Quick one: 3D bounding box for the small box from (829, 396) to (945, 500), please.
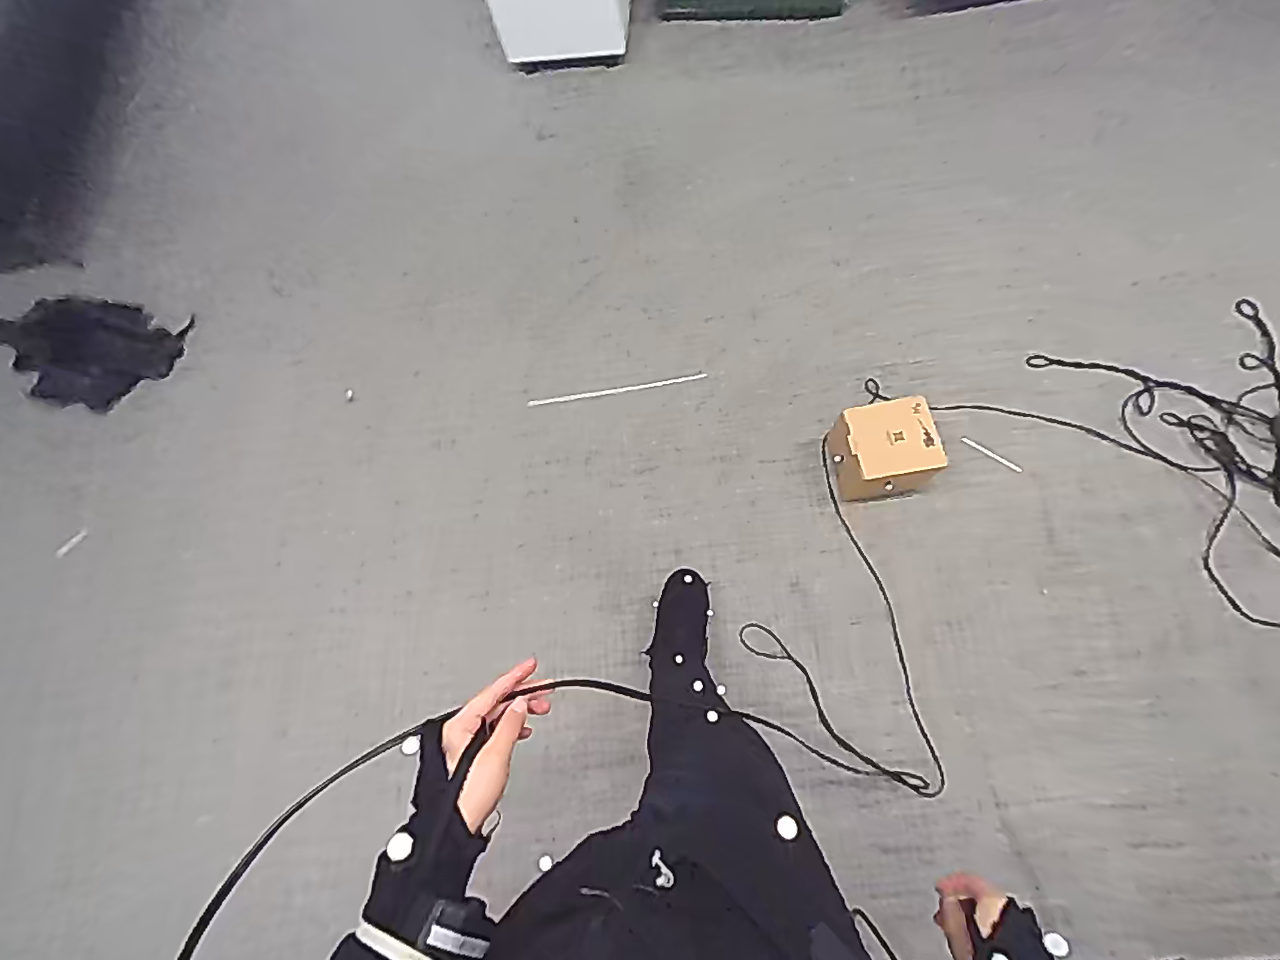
[{"bbox_3d":[0.534,-0.064,1.203,0.179,0.176,0.168,-10,71,3],"label":"small box"}]
